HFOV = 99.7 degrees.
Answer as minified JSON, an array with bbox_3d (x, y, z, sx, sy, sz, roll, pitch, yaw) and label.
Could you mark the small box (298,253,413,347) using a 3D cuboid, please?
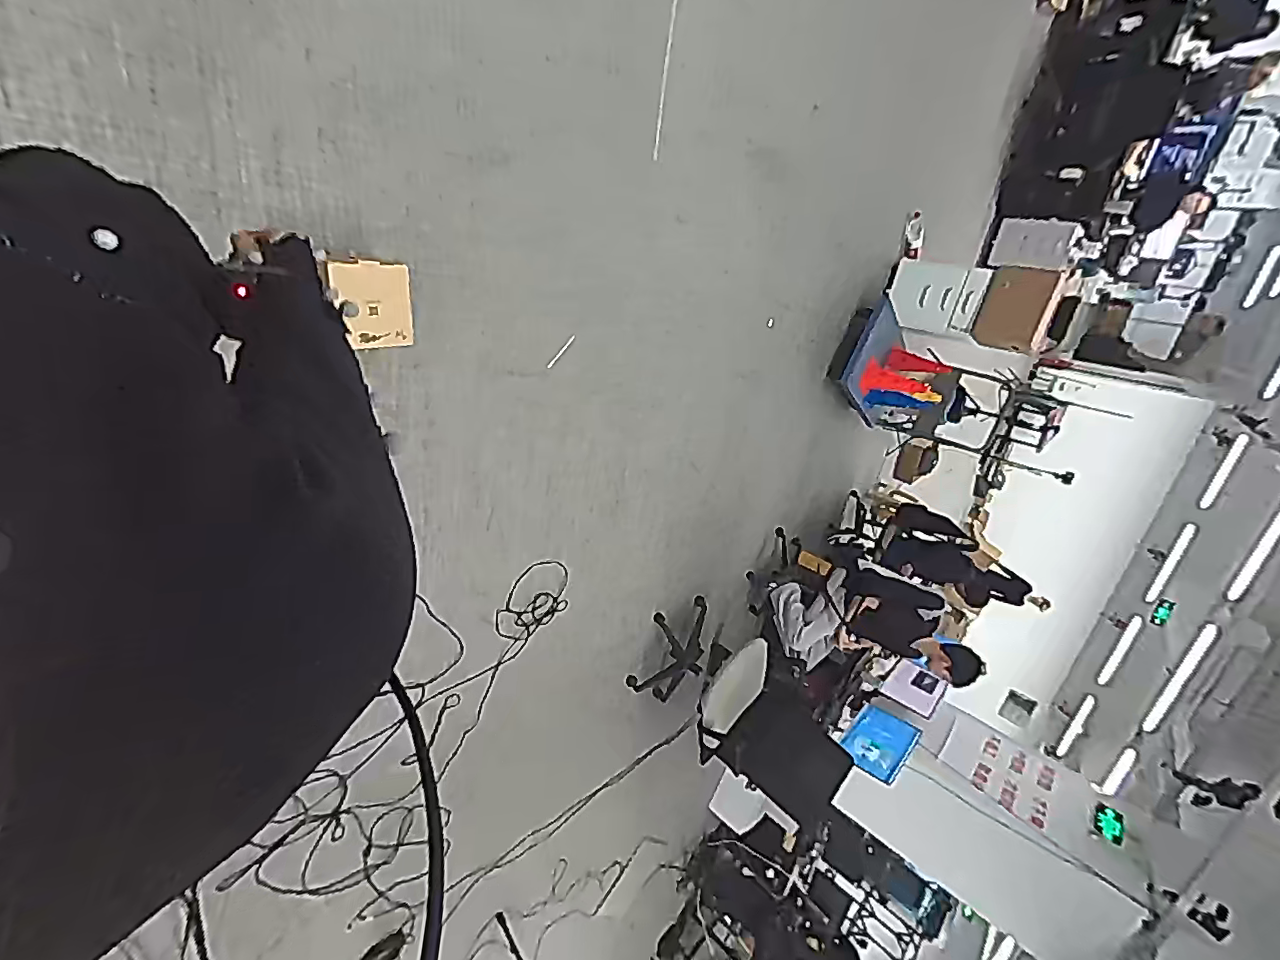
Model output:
[{"bbox_3d":[-0.625,-0.400,1.189,0.168,0.176,0.179,-20,125,-44],"label":"small box"}]
